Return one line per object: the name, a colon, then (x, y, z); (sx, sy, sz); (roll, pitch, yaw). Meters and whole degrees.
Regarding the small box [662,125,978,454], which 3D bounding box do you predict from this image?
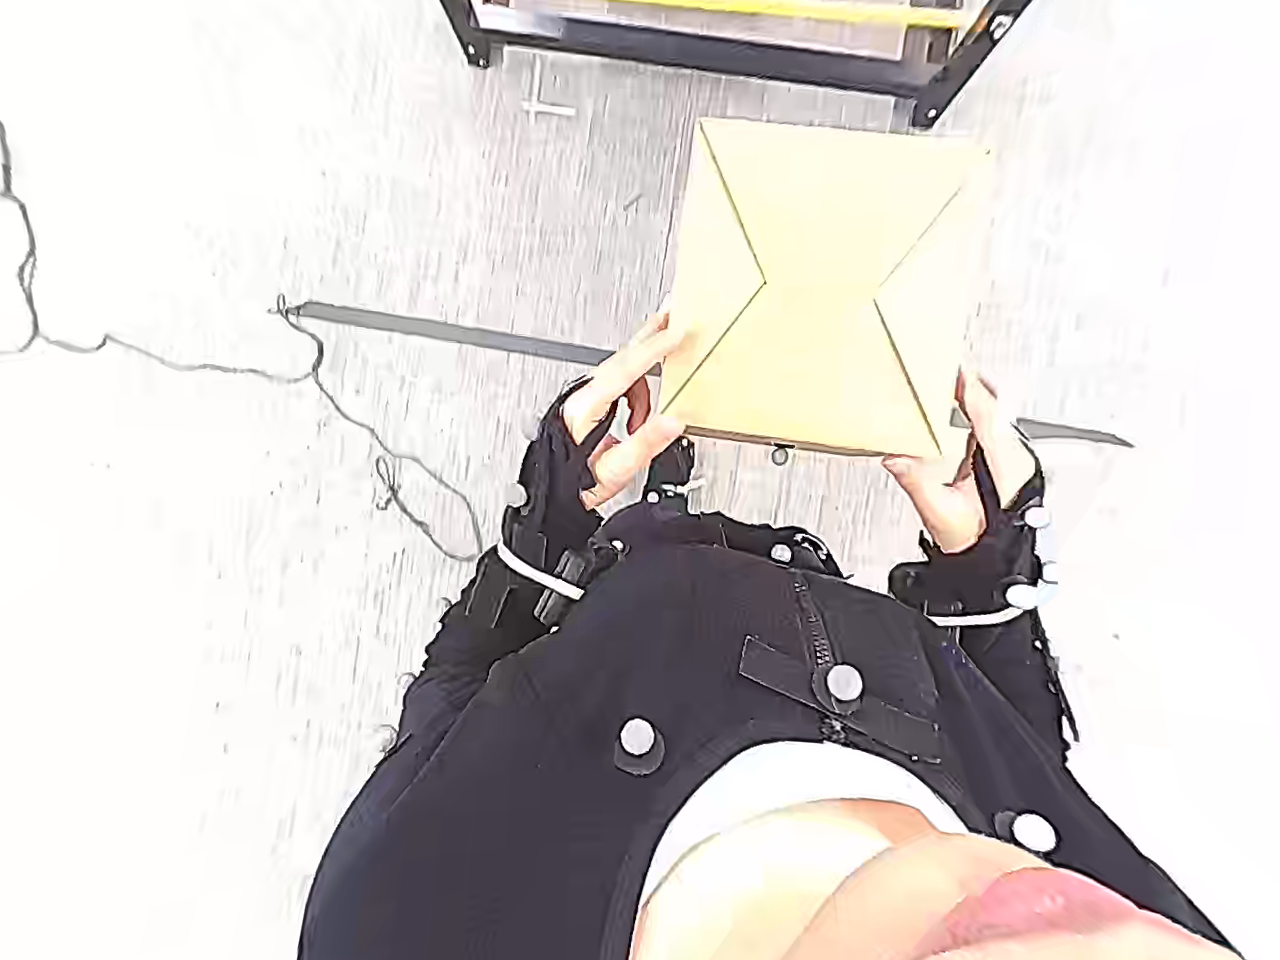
small box: (0.108, -0.115, 0.392); (0.168, 0.176, 0.179); (8, 94, 3)
